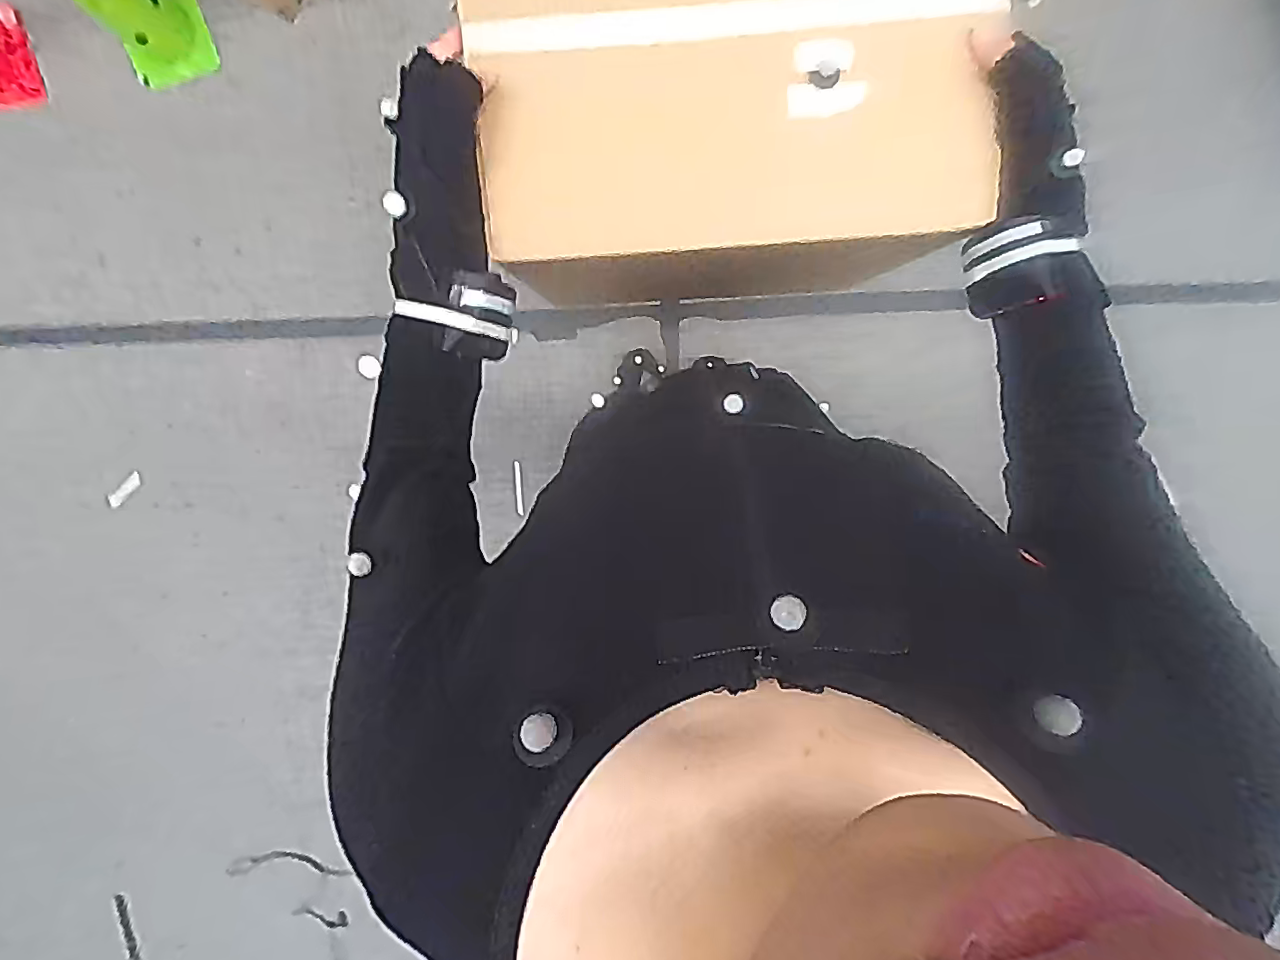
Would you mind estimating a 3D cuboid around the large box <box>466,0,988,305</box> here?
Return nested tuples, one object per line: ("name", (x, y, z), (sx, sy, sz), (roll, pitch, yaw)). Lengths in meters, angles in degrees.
("large box", (0.066, -0.375, 0.560), (0.408, 0.320, 0.320), (-3, 101, 1))
